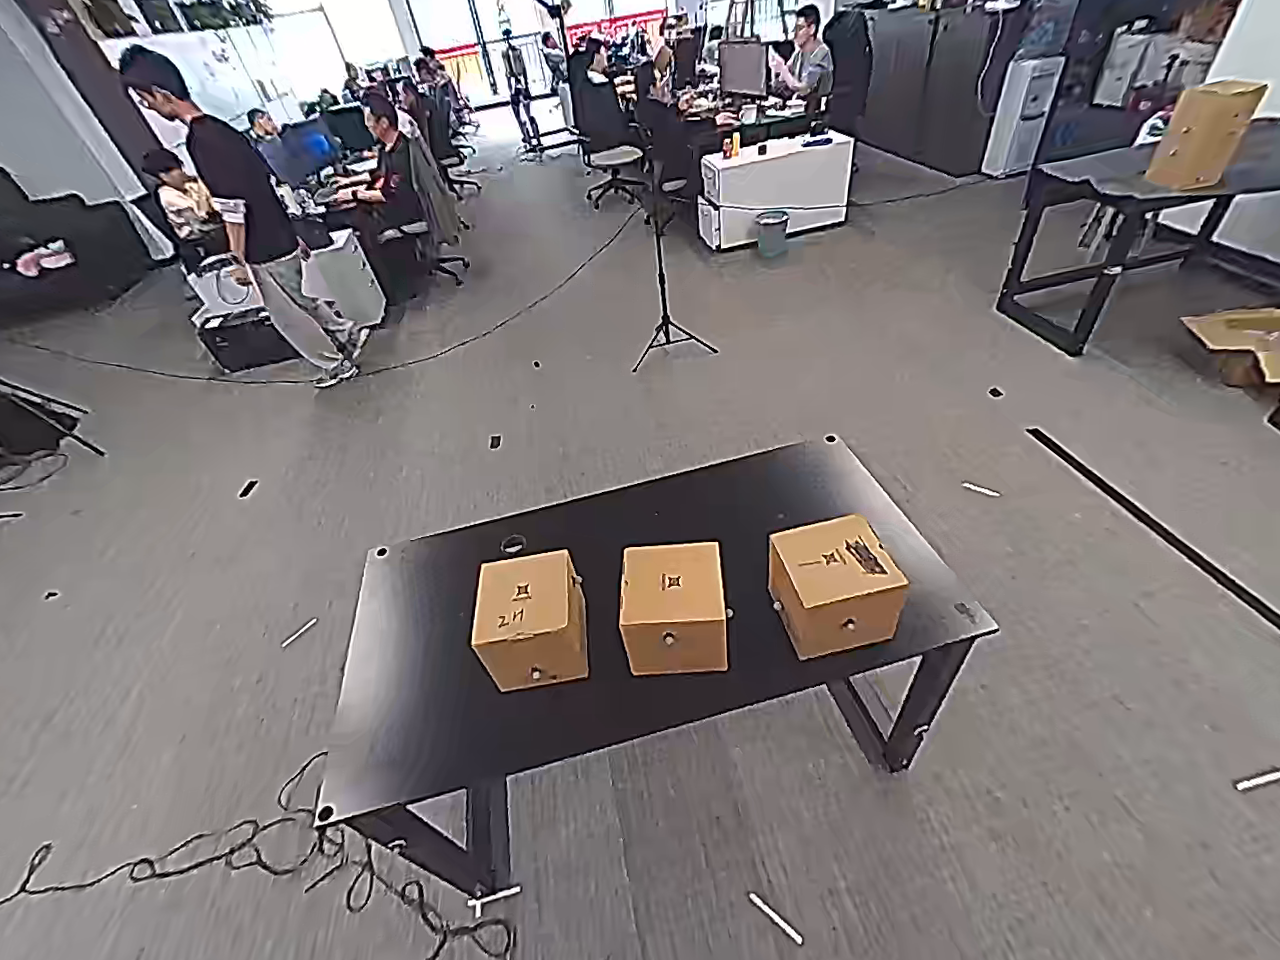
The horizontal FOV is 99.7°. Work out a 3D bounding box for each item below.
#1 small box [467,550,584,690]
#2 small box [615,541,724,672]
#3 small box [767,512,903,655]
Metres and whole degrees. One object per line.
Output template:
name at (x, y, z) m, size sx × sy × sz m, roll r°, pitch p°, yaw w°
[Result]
small box at (-0.202, 0.259, 1.002) m, size 0.168 × 0.176 × 0.179 m, roll -11°, pitch 43°, yaw 1°
small box at (0.059, 0.232, 0.981) m, size 0.179 × 0.176 × 0.168 m, roll -6°, pitch 42°, yaw 7°
small box at (0.336, 0.188, 0.970) m, size 0.179 × 0.176 × 0.168 m, roll -14°, pitch 42°, yaw -1°
